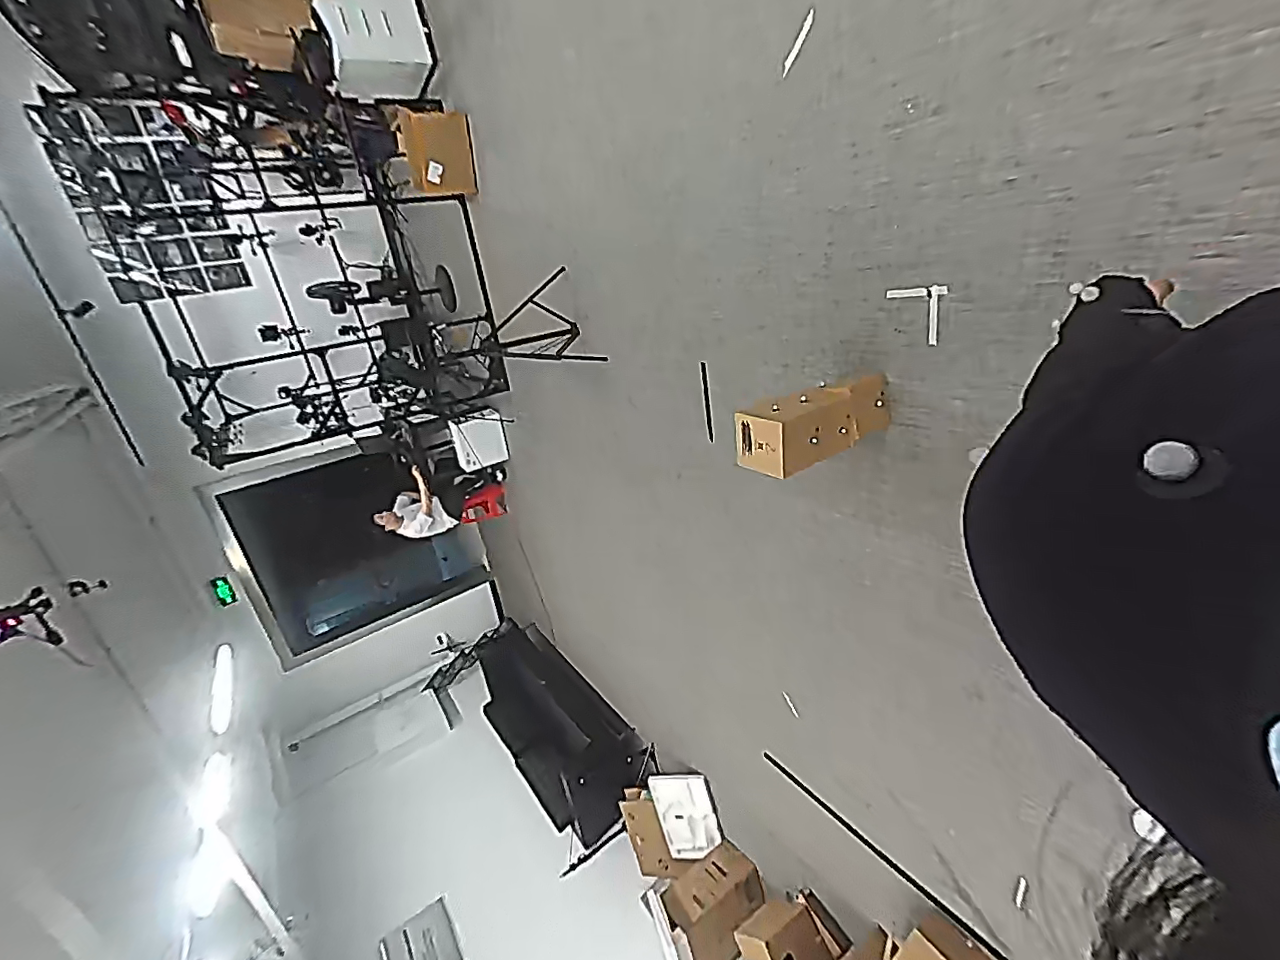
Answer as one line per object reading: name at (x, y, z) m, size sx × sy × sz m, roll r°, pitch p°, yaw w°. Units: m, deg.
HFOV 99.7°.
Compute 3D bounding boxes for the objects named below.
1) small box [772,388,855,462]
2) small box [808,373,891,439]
small box at (0.520, -0.173, 1.629) m, size 0.179 × 0.176 × 0.168 m, roll 24°, pitch 129°, yaw 51°
small box at (0.655, -0.232, 1.700) m, size 0.179 × 0.176 × 0.168 m, roll 5°, pitch 115°, yaw 58°
